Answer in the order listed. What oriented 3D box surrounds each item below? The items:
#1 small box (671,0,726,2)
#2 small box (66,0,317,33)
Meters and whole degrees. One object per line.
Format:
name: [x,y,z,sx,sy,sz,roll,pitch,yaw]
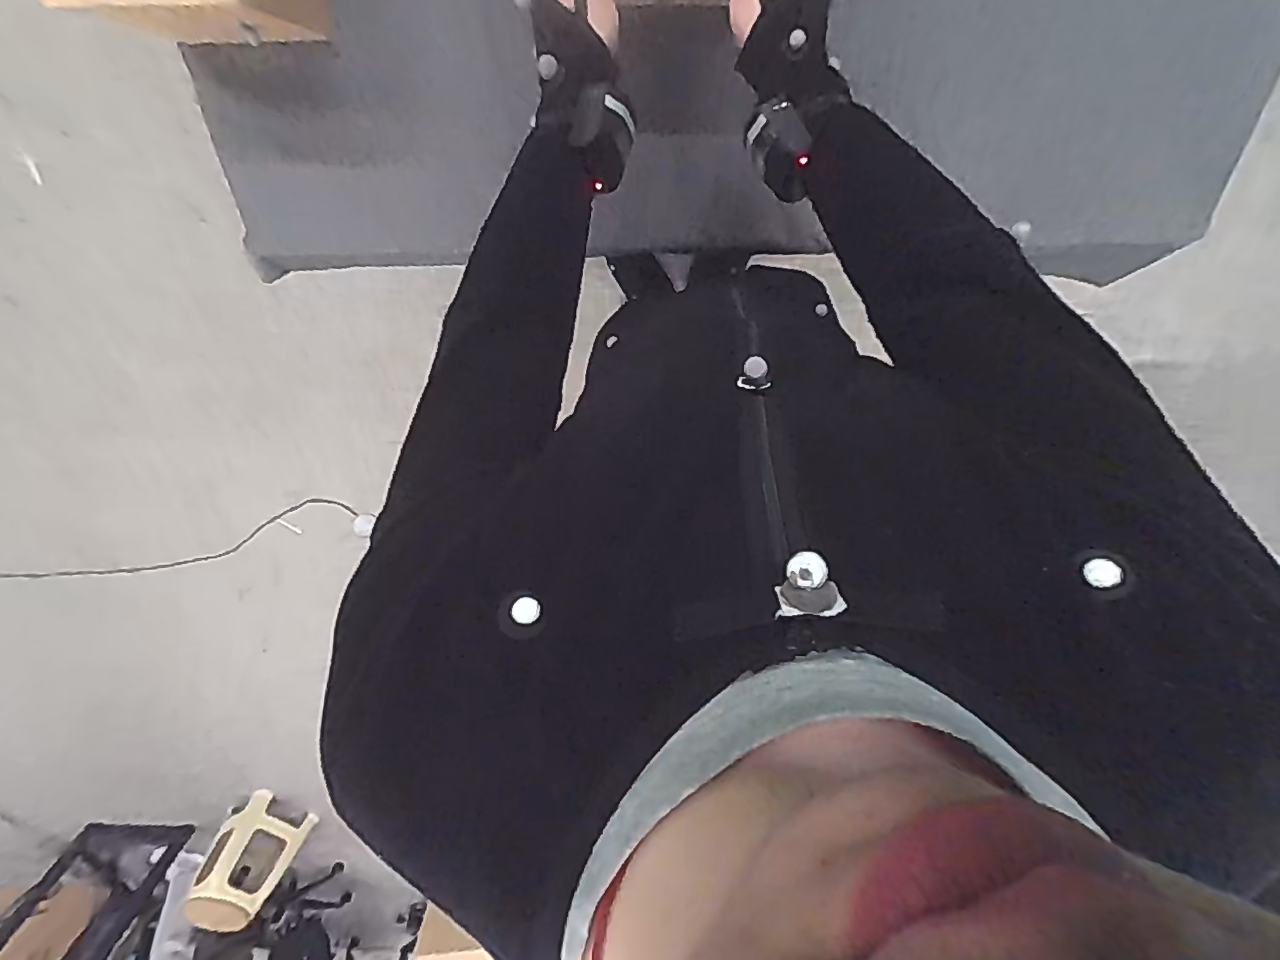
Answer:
small box: [0.037,-0.528,0.451,0.179,0.176,0.168,2,120,0]
small box: [-0.415,-0.509,0.466,0.179,0.176,0.168,0,119,2]
